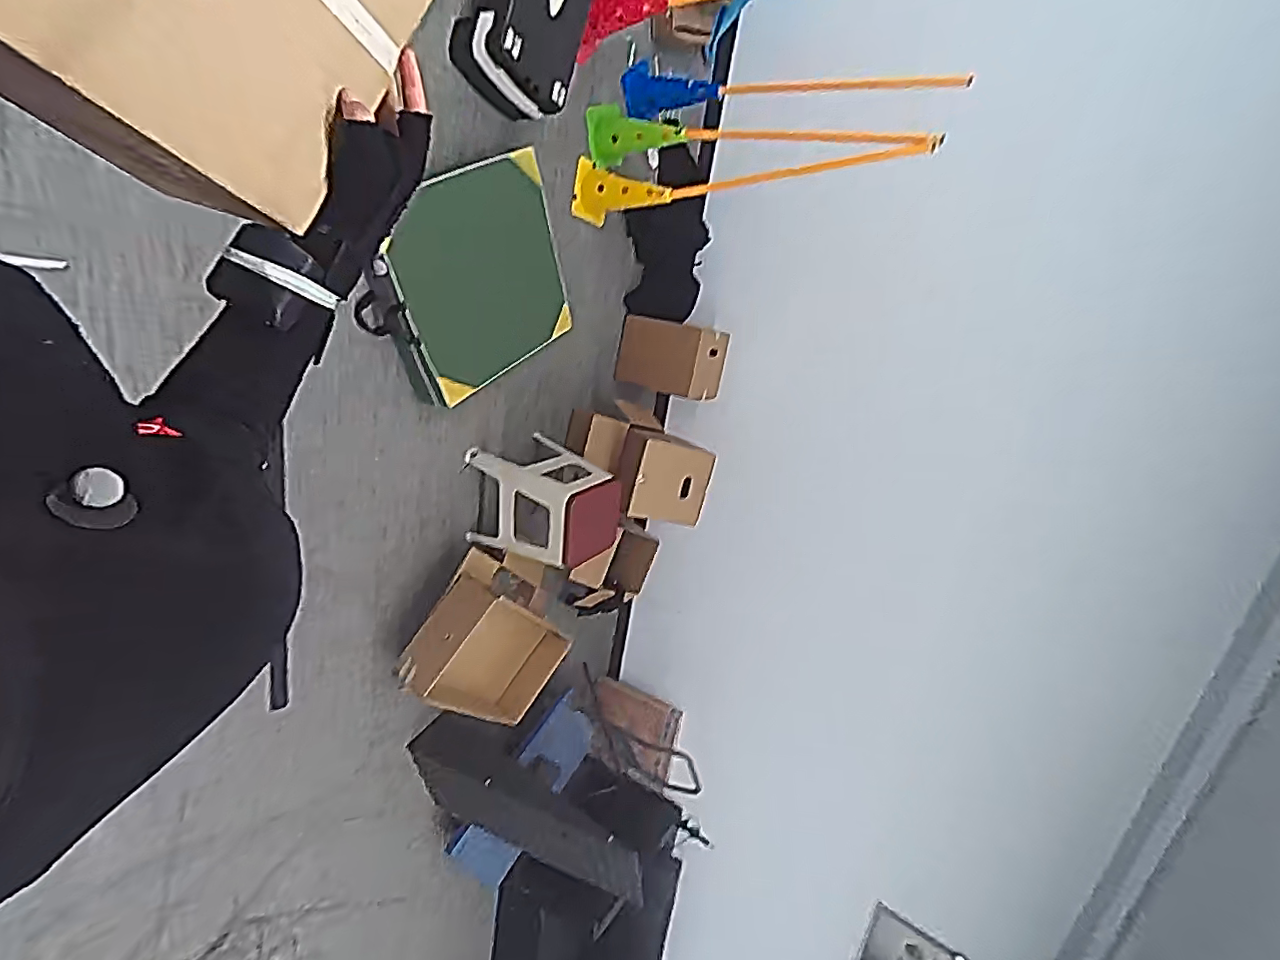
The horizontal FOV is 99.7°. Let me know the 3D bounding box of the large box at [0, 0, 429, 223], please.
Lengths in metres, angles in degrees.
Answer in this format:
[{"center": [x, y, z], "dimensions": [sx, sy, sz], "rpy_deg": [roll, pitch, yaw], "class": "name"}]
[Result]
[{"center": [-0.407, -0.442, 0.344], "dimensions": [0.320, 0.320, 0.408], "rpy_deg": [-62, 150, -2], "class": "large box"}]
